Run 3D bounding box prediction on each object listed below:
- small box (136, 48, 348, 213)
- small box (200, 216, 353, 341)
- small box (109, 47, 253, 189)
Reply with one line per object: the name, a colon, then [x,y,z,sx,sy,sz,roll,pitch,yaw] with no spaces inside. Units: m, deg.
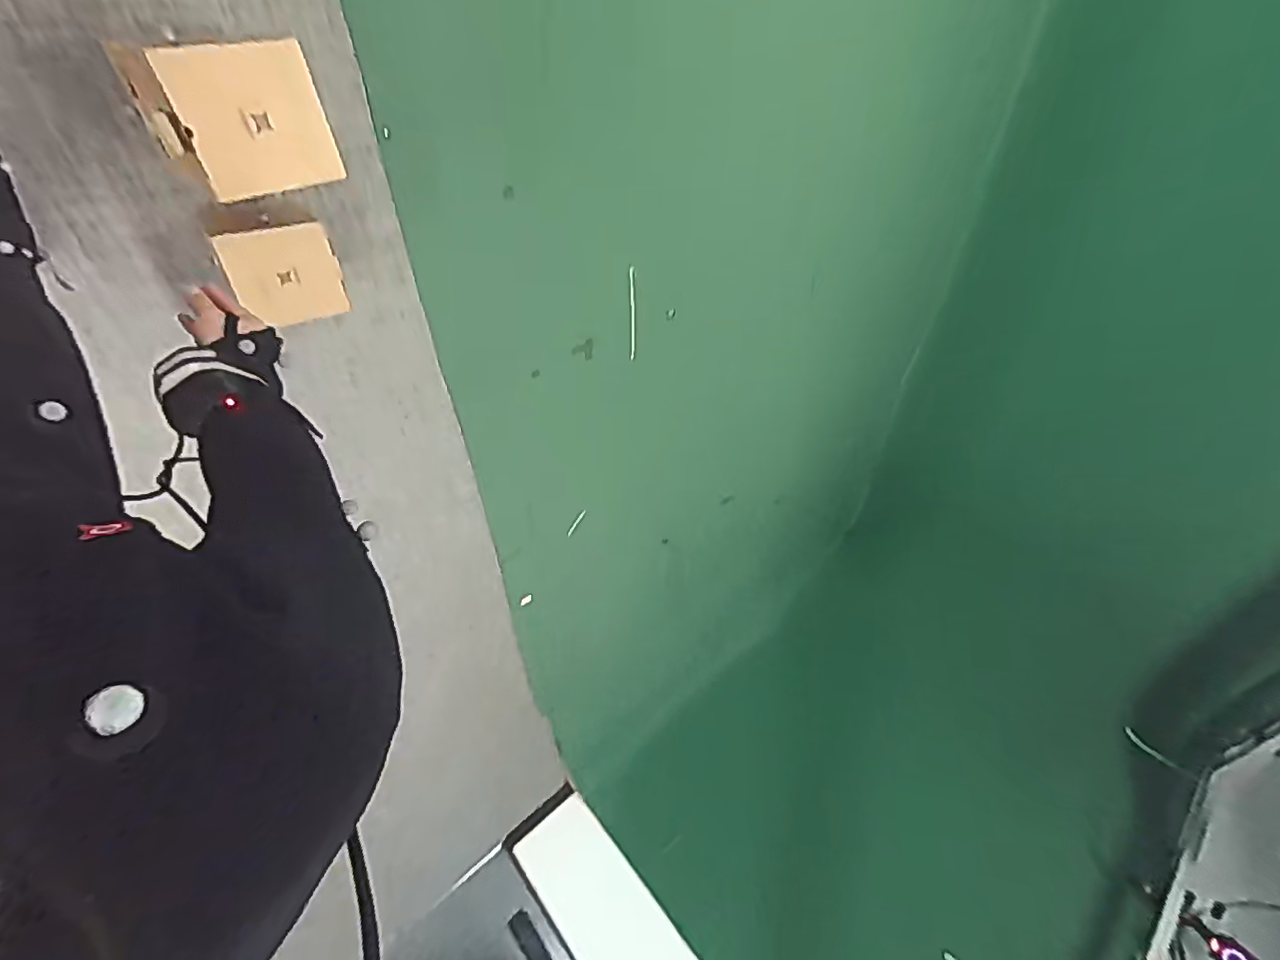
small box: [-0.560,-0.502,0.769,0.179,0.176,0.168,-32,139,-28]
small box: [-0.679,-0.385,1.015,0.179,0.176,0.168,-27,136,-30]
small box: [-0.683,-0.573,0.854,0.179,0.176,0.168,-31,137,-29]
